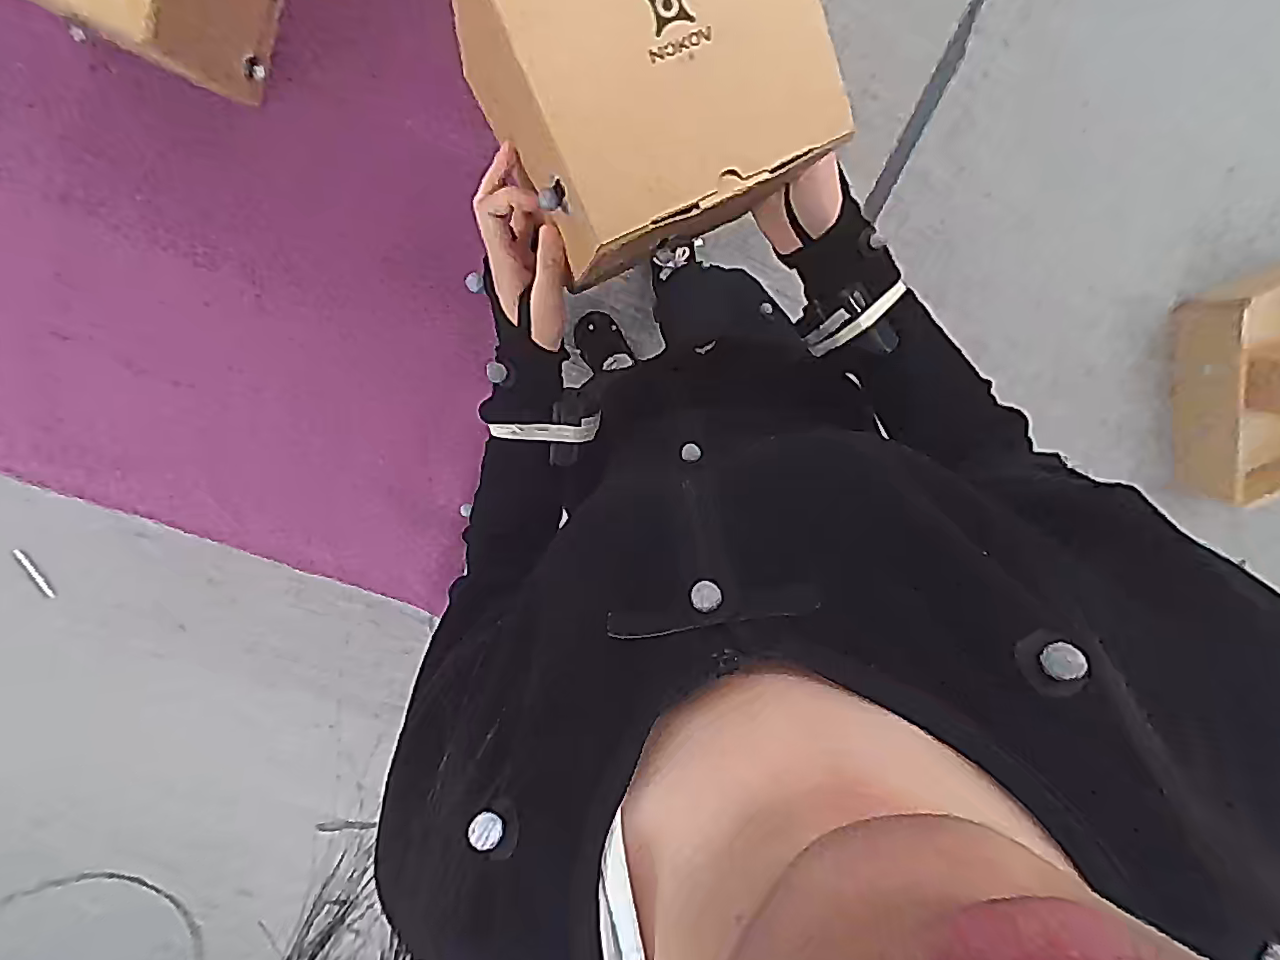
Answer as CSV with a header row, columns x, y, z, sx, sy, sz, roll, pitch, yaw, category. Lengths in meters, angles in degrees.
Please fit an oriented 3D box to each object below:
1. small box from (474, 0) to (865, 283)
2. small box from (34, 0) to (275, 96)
x,y,z,sx,sy,sz,roll,pitch,yaw,category
0.003,-0.251,0.348,0.168,0.176,0.179,-28,107,-7,small box
-0.438,-0.465,0.455,0.179,0.176,0.168,21,104,-13,small box
